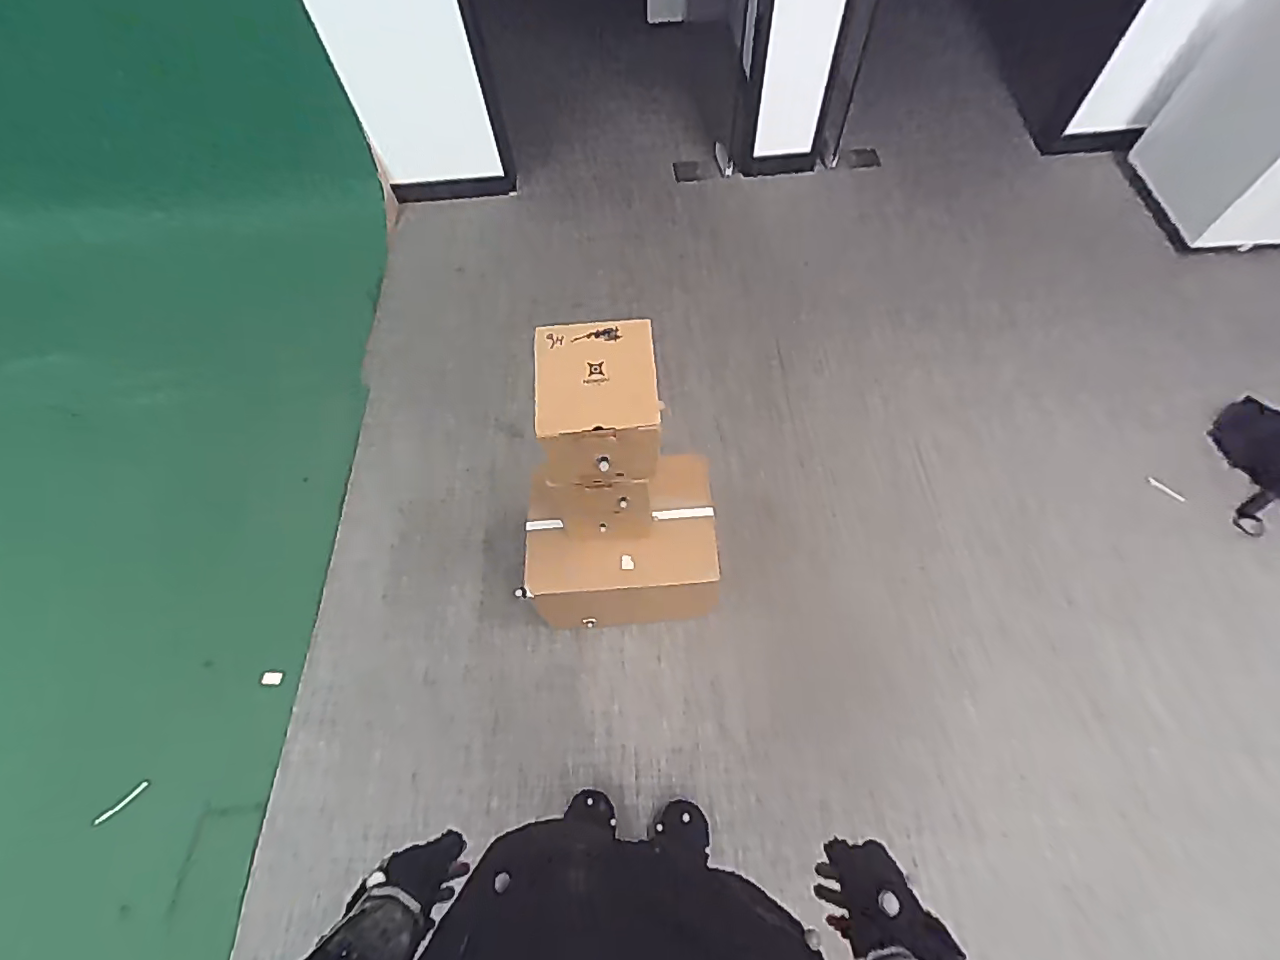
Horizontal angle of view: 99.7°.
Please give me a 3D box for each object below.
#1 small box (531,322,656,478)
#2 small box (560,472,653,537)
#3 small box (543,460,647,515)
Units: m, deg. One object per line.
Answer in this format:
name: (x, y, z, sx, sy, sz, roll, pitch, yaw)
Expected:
small box: (-0.064, -0.109, 0.811, 0.168, 0.176, 0.179, -5, 69, 0)
small box: (-0.066, 0.015, 1.112, 0.179, 0.176, 0.168, -4, 69, 0)
small box: (-0.074, -0.043, 0.961, 0.168, 0.176, 0.179, -4, 67, 0)
